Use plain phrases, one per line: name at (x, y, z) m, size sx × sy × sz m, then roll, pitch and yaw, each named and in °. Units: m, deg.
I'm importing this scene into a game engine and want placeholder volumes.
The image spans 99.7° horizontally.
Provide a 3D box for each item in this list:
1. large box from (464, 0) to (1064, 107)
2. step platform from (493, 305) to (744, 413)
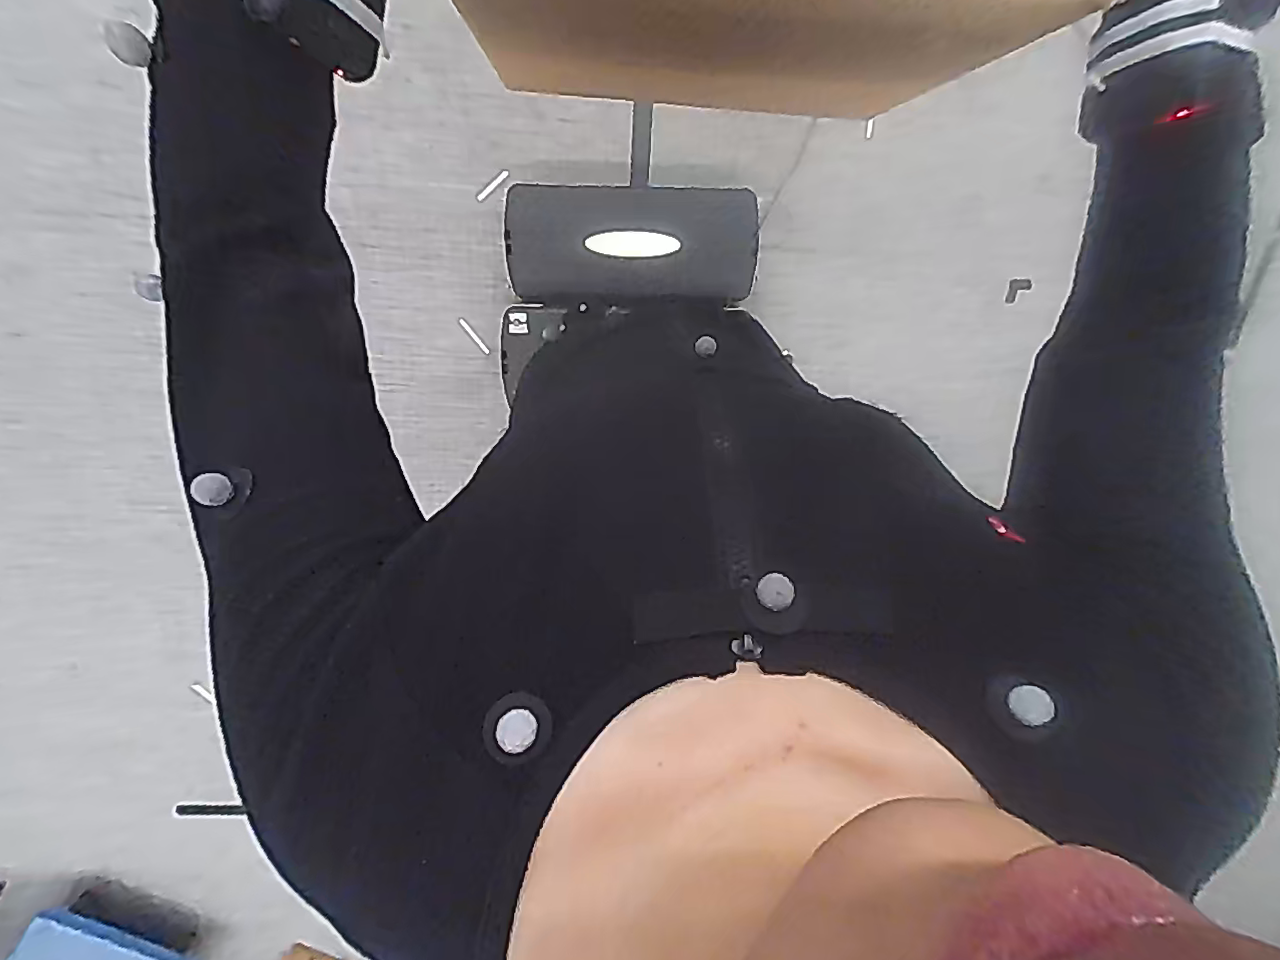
large box at (0.071, -0.495, 0.395) m, size 0.408 × 0.320 × 0.320 m, roll 0°, pitch 114°, yaw -5°
step platform at (-0.057, -0.337, 1.504) m, size 0.684 × 0.204 × 0.286 m, roll 0°, pitch 108°, yaw -1°
